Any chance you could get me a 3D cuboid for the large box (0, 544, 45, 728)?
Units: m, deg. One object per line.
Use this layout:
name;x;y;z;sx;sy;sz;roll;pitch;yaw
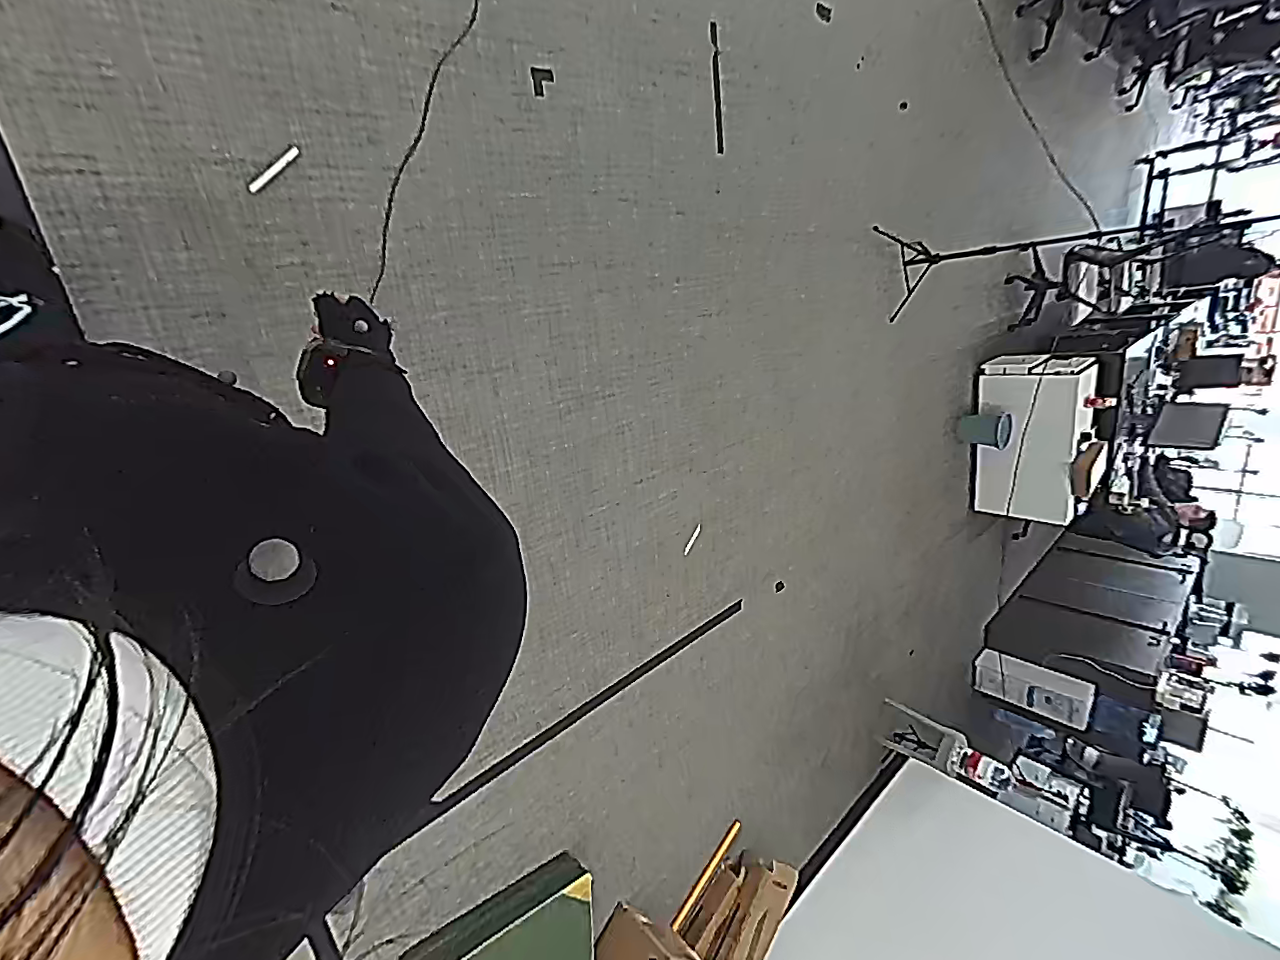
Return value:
large box;-0.935;0.128;0.547;0.320;0.408;0.320;-32;146;-34
